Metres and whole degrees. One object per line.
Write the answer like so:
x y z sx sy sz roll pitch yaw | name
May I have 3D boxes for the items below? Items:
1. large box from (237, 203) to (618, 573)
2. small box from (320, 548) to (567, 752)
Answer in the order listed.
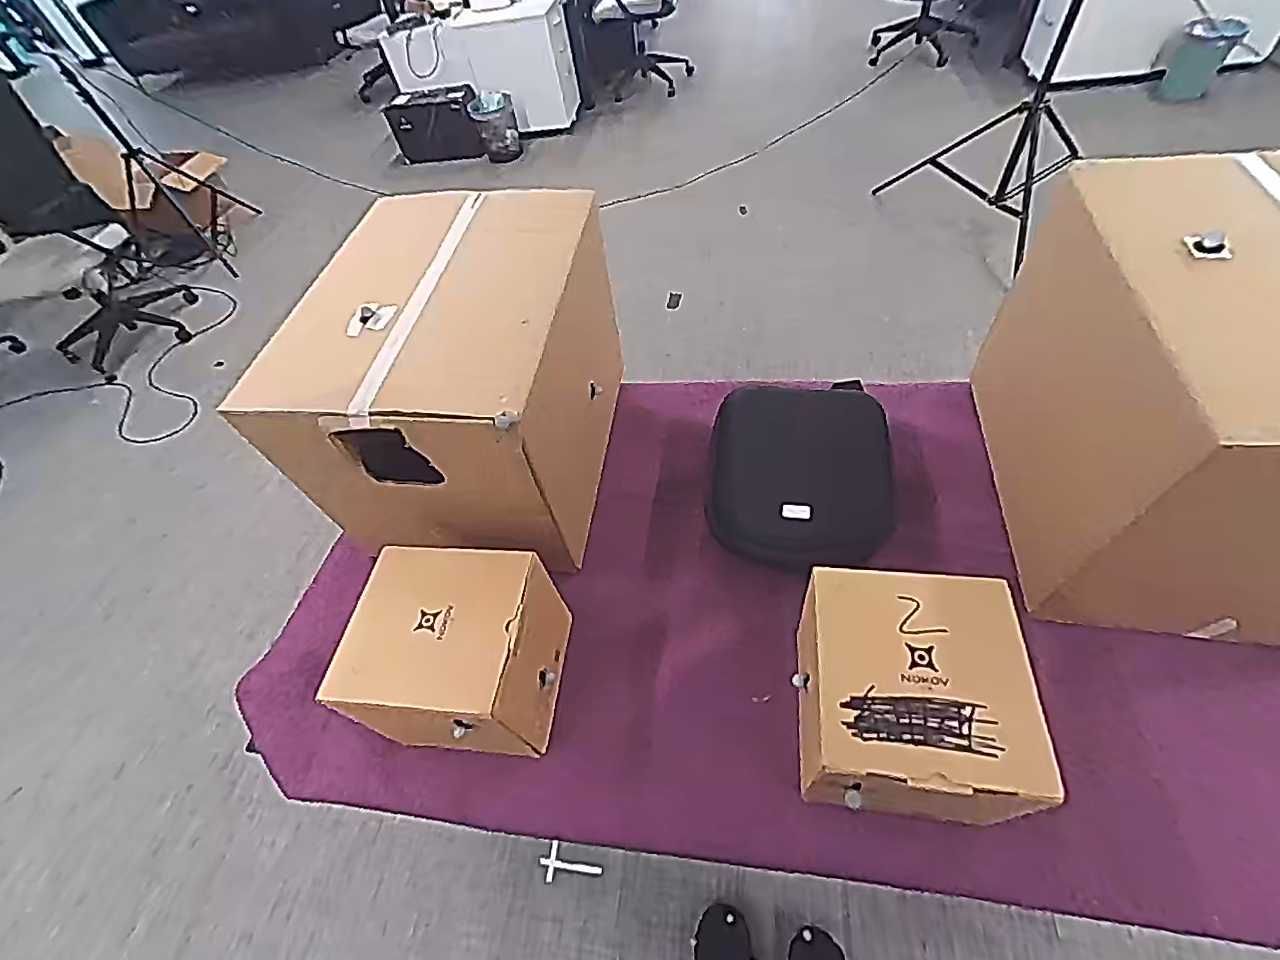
-0.218 -0.124 0.746 0.320 0.320 0.408 2 56 9 | large box
-0.194 0.189 0.596 0.179 0.176 0.168 0 52 9 | small box
